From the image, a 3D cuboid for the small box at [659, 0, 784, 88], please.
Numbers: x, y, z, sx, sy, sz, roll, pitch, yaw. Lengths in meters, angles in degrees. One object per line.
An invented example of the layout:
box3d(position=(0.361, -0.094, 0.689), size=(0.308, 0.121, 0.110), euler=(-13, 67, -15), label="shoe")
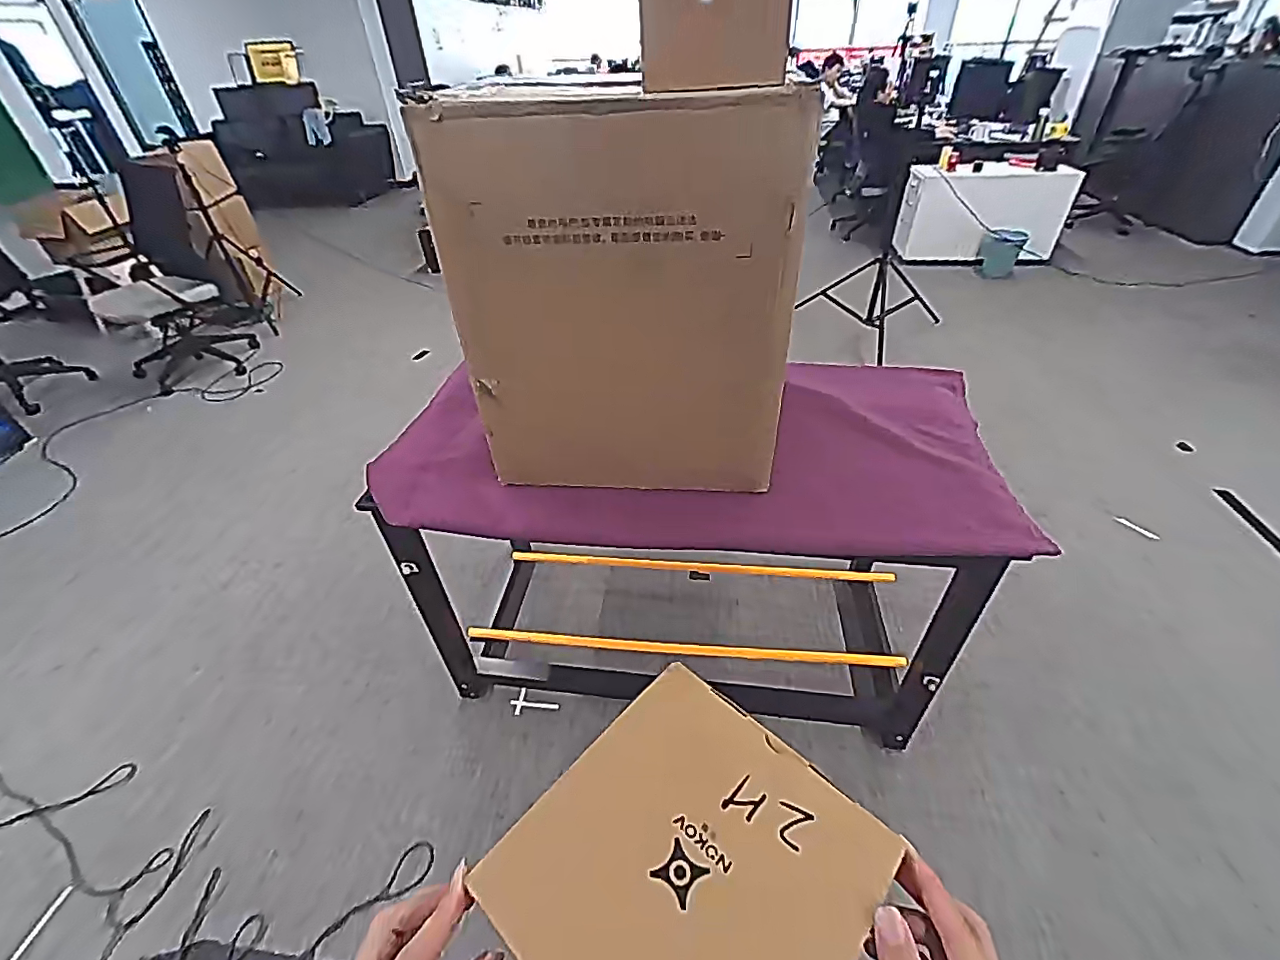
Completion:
box3d(position=(0.119, -0.689, 0.800), size=(0.179, 0.176, 0.168), euler=(2, 39, 6), label="small box")
